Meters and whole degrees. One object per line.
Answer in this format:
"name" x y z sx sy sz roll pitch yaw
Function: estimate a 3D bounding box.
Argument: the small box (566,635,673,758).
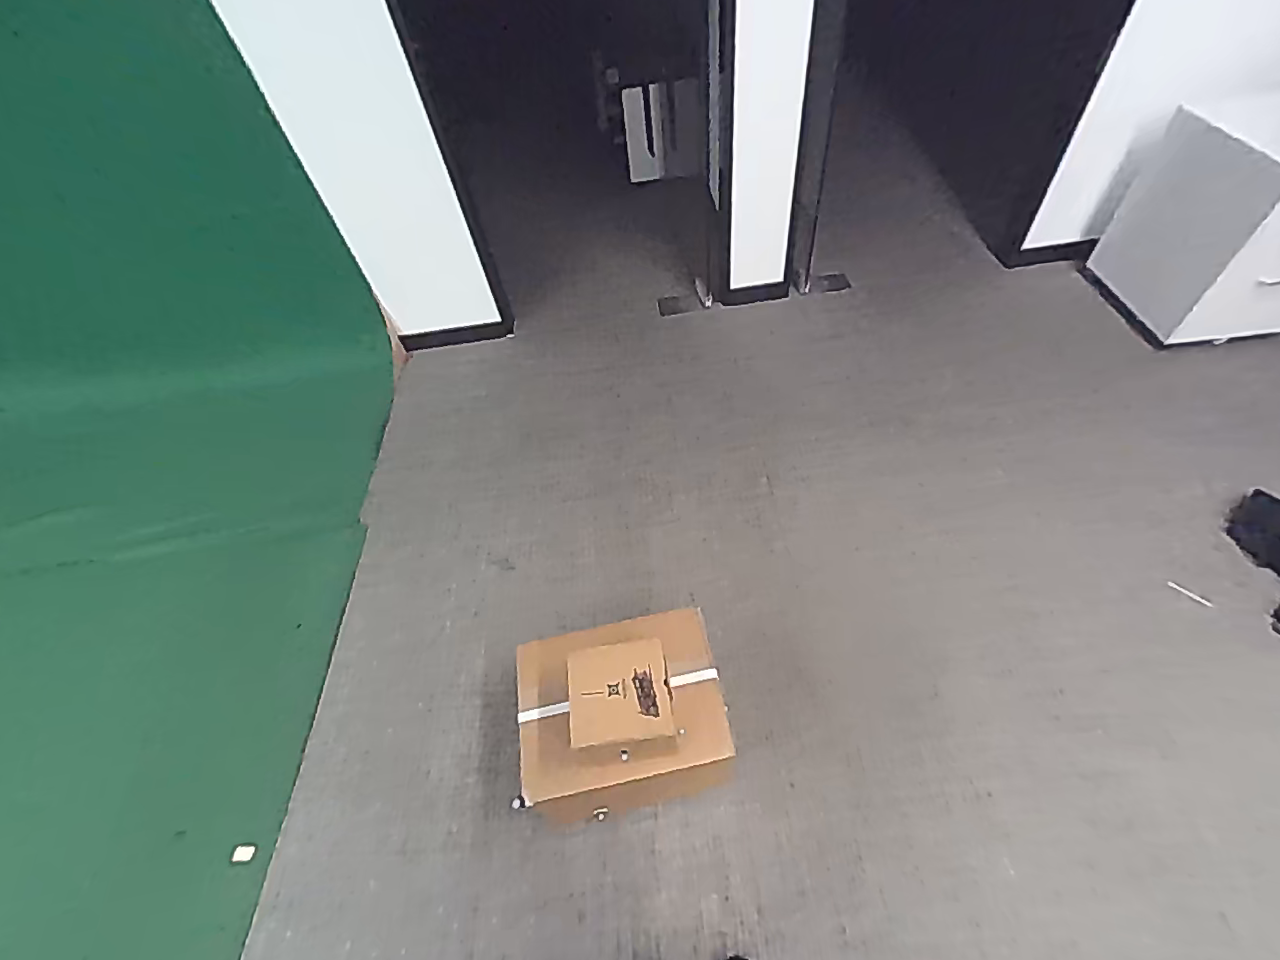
"small box" -0.035 0.405 1.005 0.179 0.176 0.168 -9 53 1
